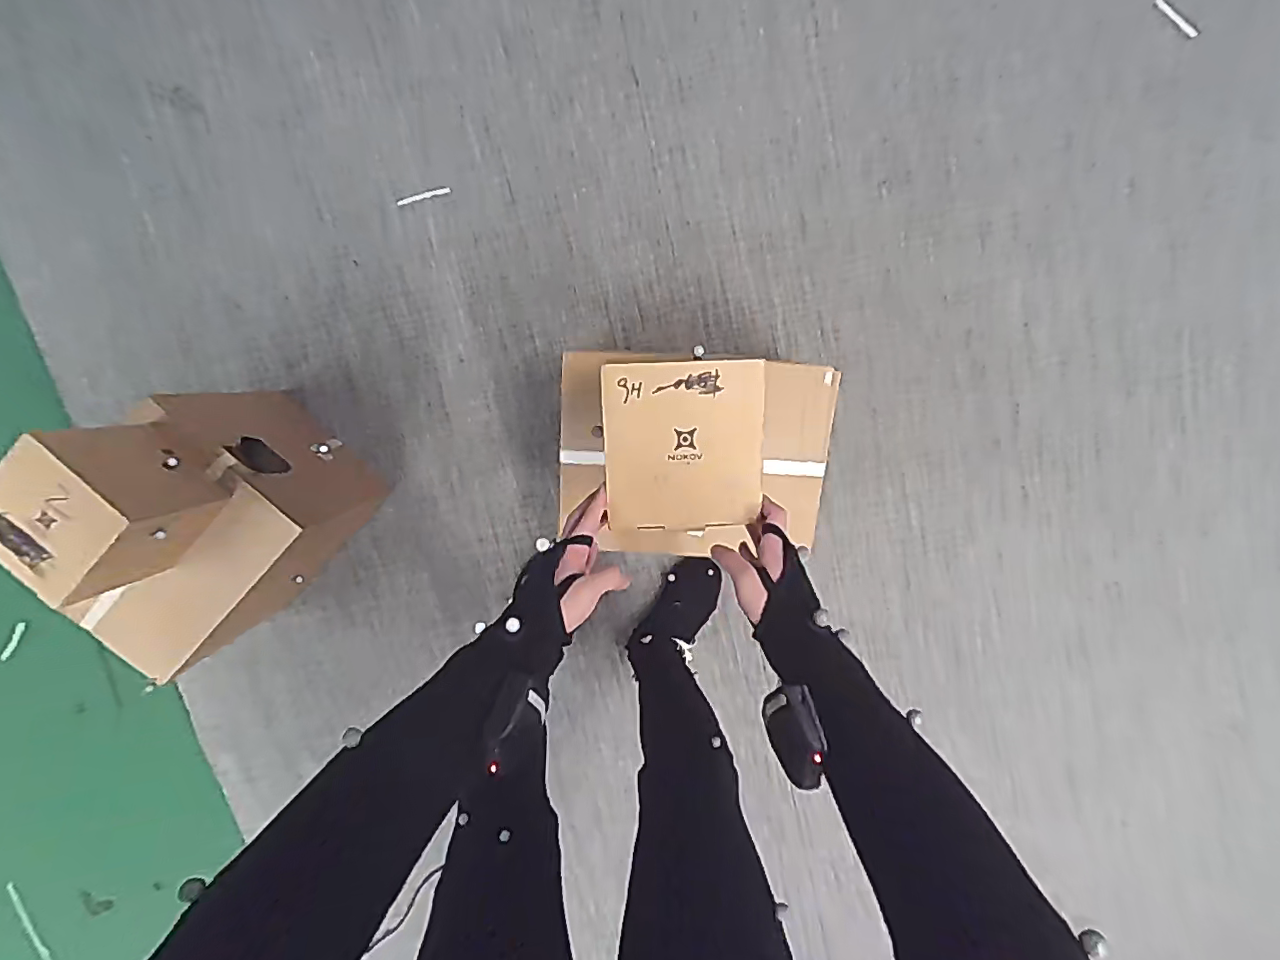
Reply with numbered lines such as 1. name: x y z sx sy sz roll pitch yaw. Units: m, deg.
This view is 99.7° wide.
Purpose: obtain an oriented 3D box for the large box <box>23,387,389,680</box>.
1. large box: -0.777 0.075 1.028 0.320 0.320 0.408 44 99 -6

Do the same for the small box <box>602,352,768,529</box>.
1. small box: 0.041 -0.054 0.627 0.168 0.176 0.179 -2 105 -4
